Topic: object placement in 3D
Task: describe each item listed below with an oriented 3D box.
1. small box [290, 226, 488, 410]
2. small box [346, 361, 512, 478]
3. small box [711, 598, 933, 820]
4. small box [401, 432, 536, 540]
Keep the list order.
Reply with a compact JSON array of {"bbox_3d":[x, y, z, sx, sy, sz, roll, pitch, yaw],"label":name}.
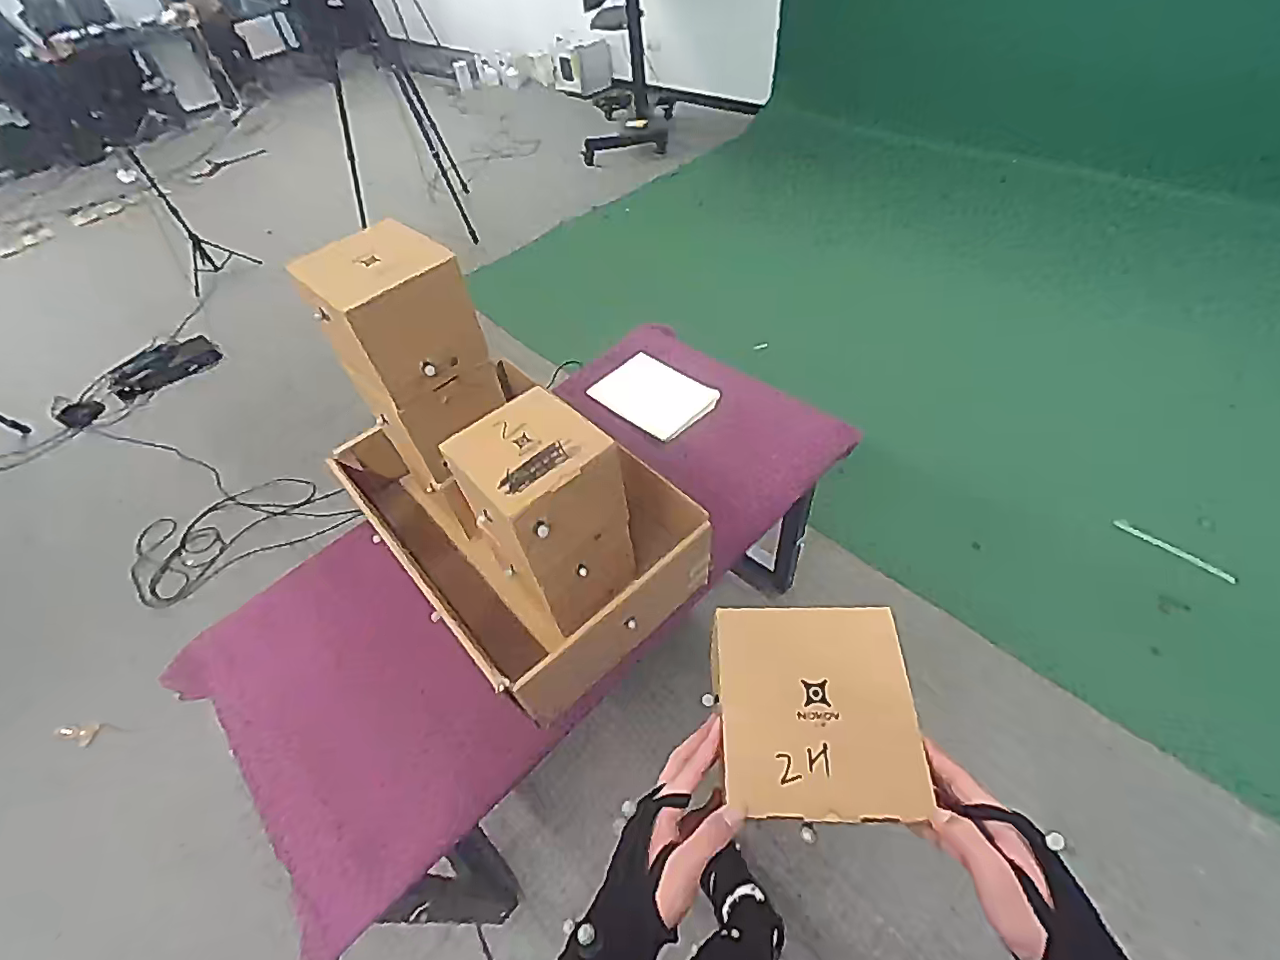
[{"bbox_3d":[-0.351,-0.232,0.780,0.179,0.176,0.168,36,62,28],"label":"small box"},{"bbox_3d":[-0.341,-0.128,0.904,0.179,0.176,0.168,35,61,29],"label":"small box"},{"bbox_3d":[0.158,0.231,0.540,0.168,0.176,0.179,-2,57,6],"label":"small box"},{"bbox_3d":[-0.323,-0.019,1.027,0.179,0.176,0.168,36,62,29],"label":"small box"}]
